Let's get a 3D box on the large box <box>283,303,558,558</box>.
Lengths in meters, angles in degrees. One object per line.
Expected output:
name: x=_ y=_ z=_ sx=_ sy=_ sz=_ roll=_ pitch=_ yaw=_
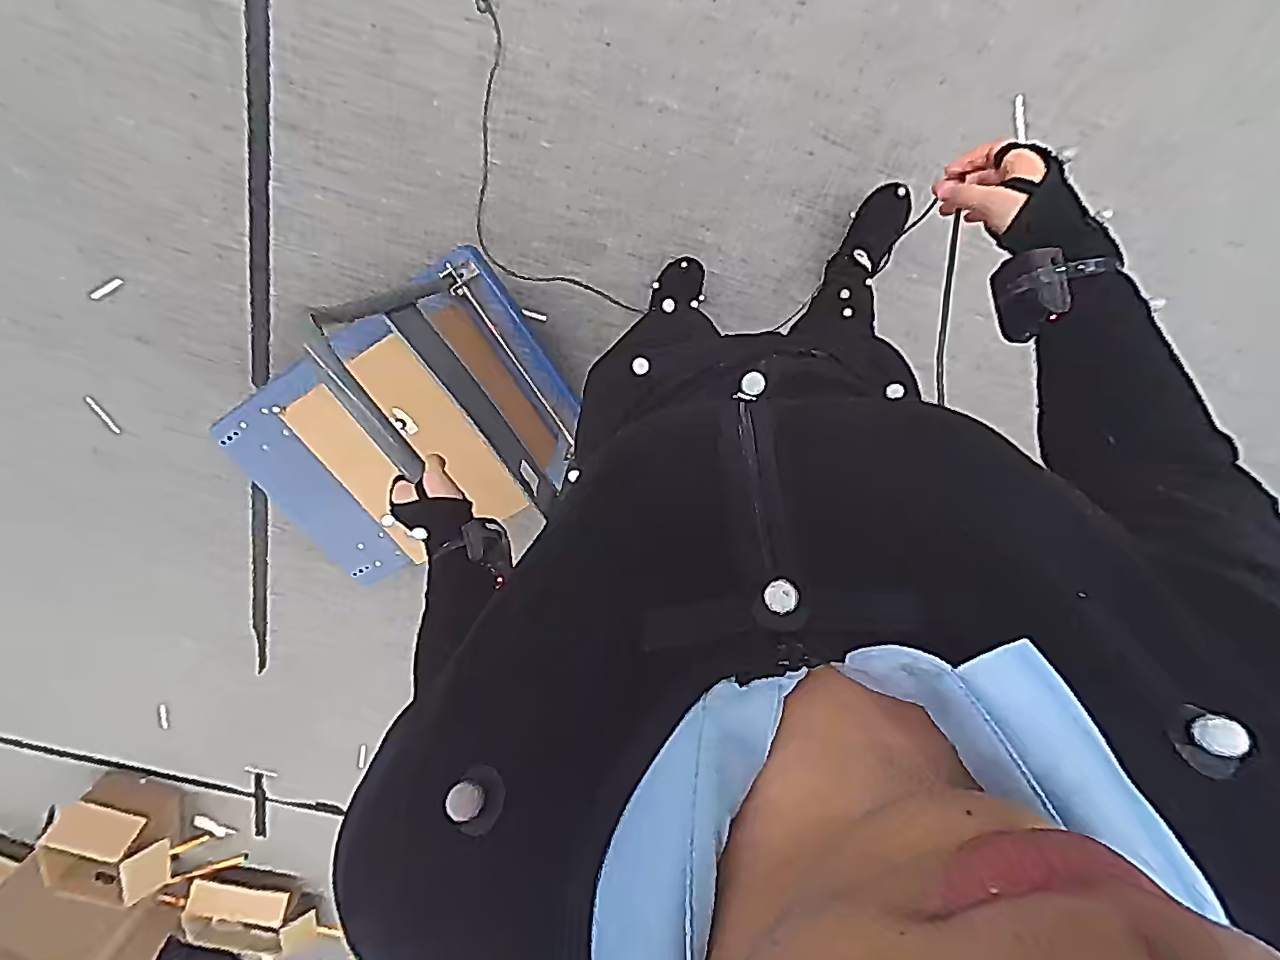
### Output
large box: x=-0.439 y=-0.114 z=1.188 sx=0.320 sy=0.320 sz=0.408 roll=-27 pitch=112 yaw=15
